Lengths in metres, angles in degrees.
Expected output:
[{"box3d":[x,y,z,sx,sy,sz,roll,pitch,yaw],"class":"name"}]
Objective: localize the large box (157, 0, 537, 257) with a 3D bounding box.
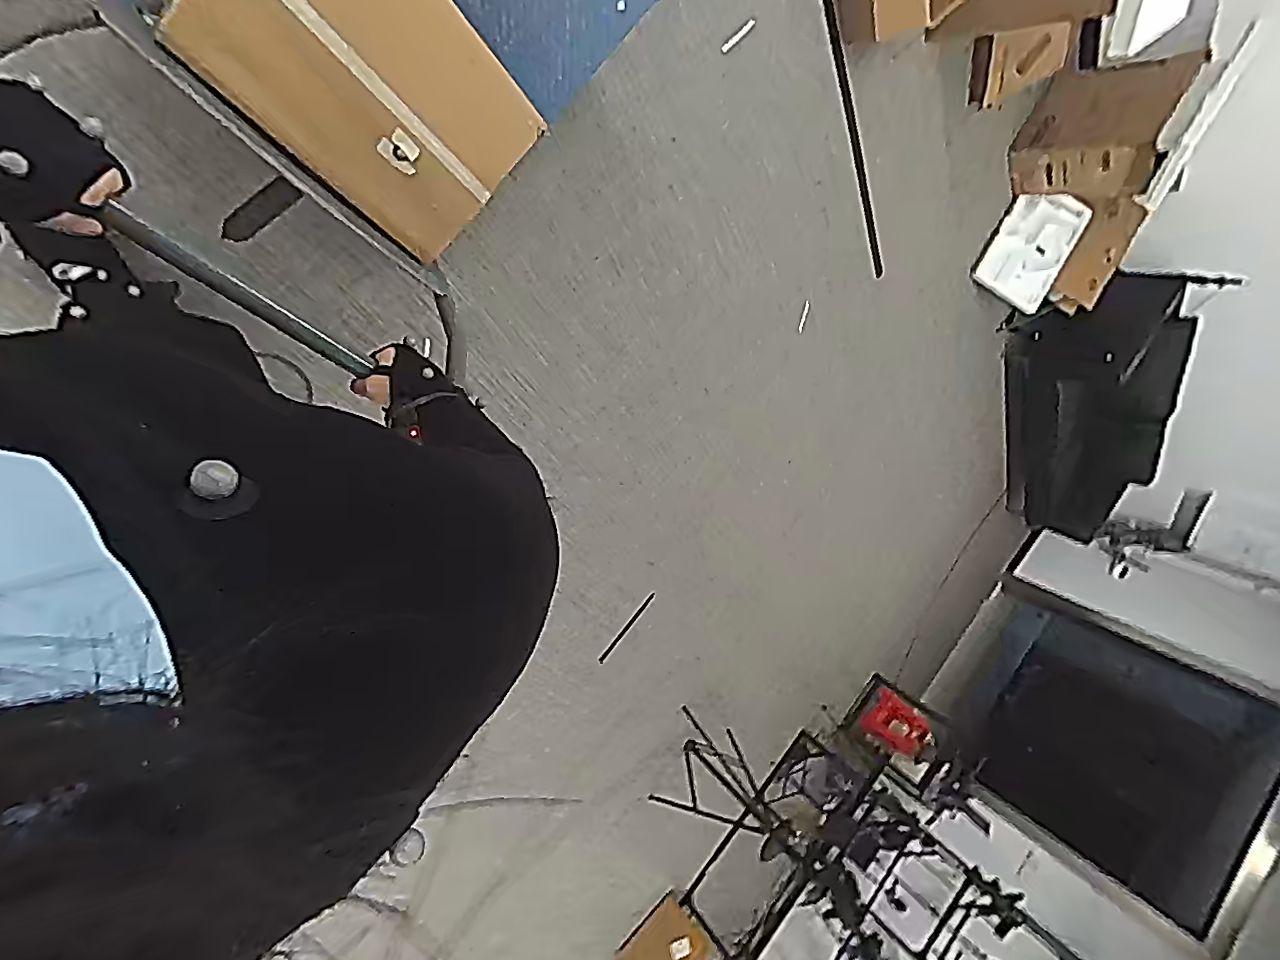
[{"box3d":[-0.456,-0.663,0.892,0.320,0.320,0.408,-44,137,8],"class":"large box"}]
